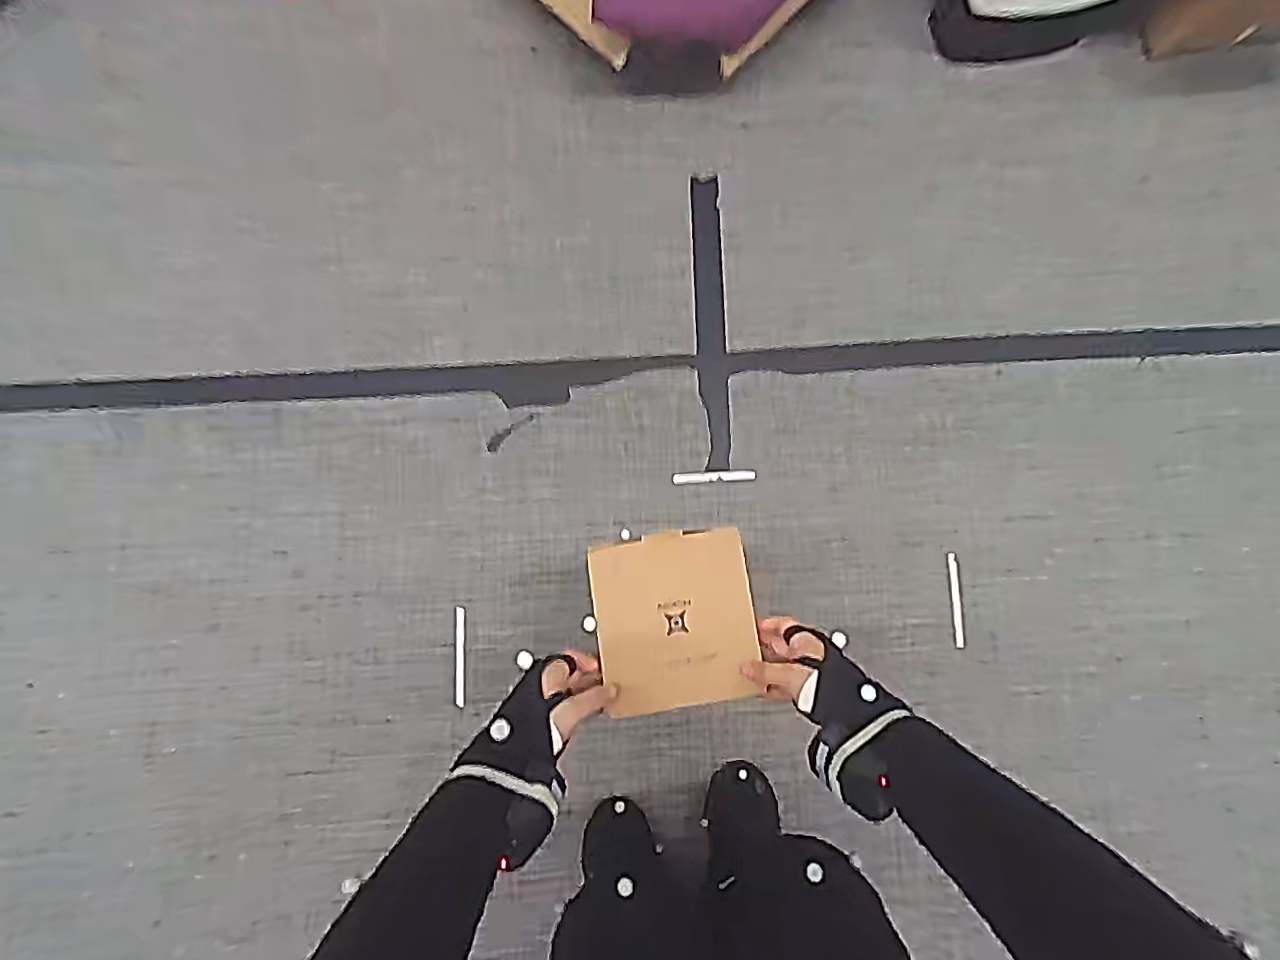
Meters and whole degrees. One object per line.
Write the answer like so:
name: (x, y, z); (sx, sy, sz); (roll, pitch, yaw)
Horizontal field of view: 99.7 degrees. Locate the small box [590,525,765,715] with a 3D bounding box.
small box: (0.033, 0.156, 0.642); (0.168, 0.176, 0.179); (-8, 82, -4)
